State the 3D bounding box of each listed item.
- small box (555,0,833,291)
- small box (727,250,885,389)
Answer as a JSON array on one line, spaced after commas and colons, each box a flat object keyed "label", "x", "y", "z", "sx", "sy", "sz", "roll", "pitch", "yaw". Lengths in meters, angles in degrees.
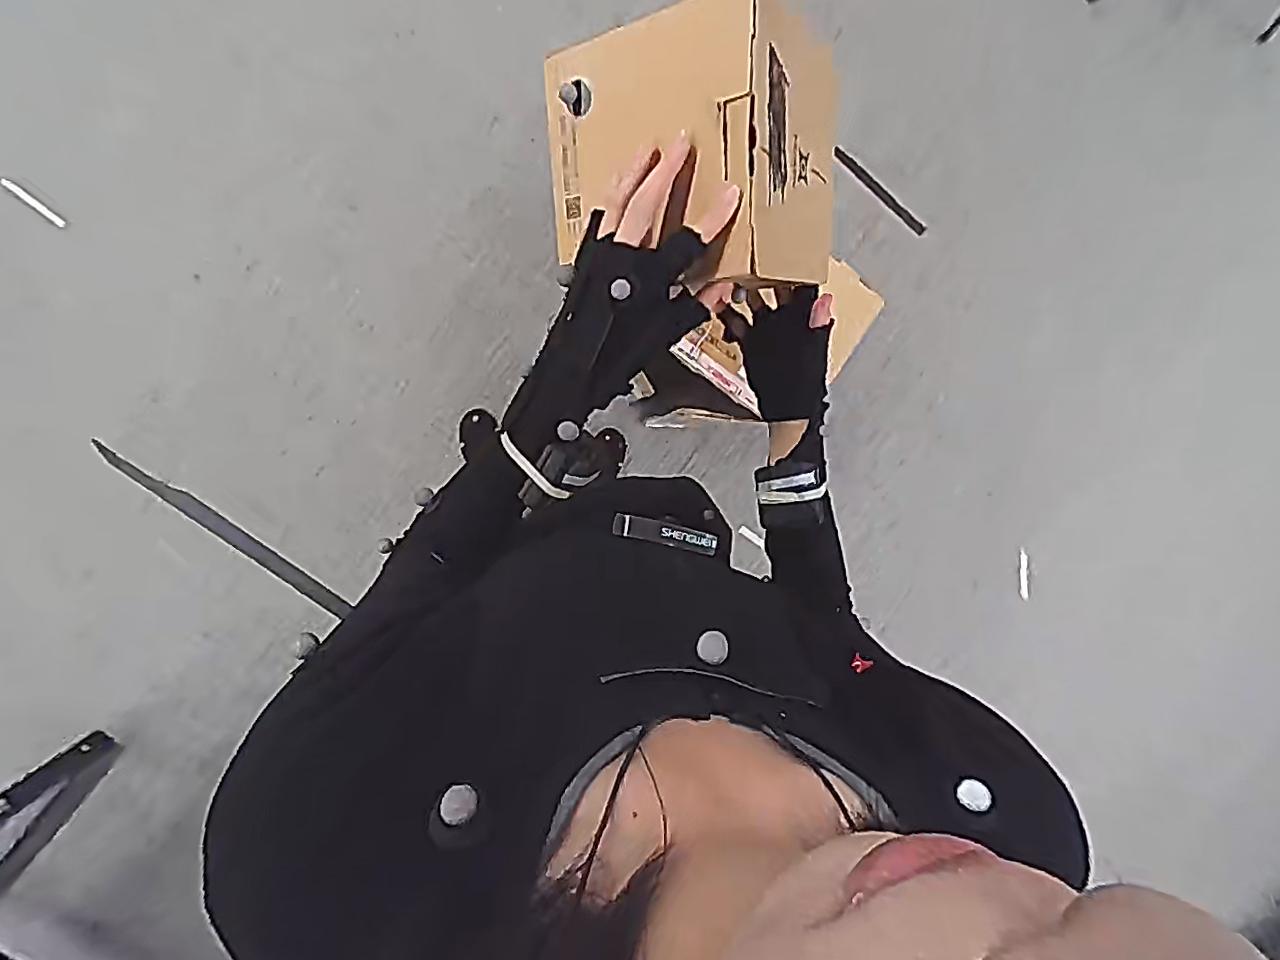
[{"label": "small box", "x": 0.046, "y": -0.245, "z": 0.434, "sx": 0.176, "sy": 0.179, "sz": 0.168, "roll": 7, "pitch": 109, "yaw": 33}, {"label": "small box", "x": 0.278, "y": -0.279, "z": 0.949, "sx": 0.168, "sy": 0.176, "sz": 0.179, "roll": 34, "pitch": 89, "yaw": -11}]
